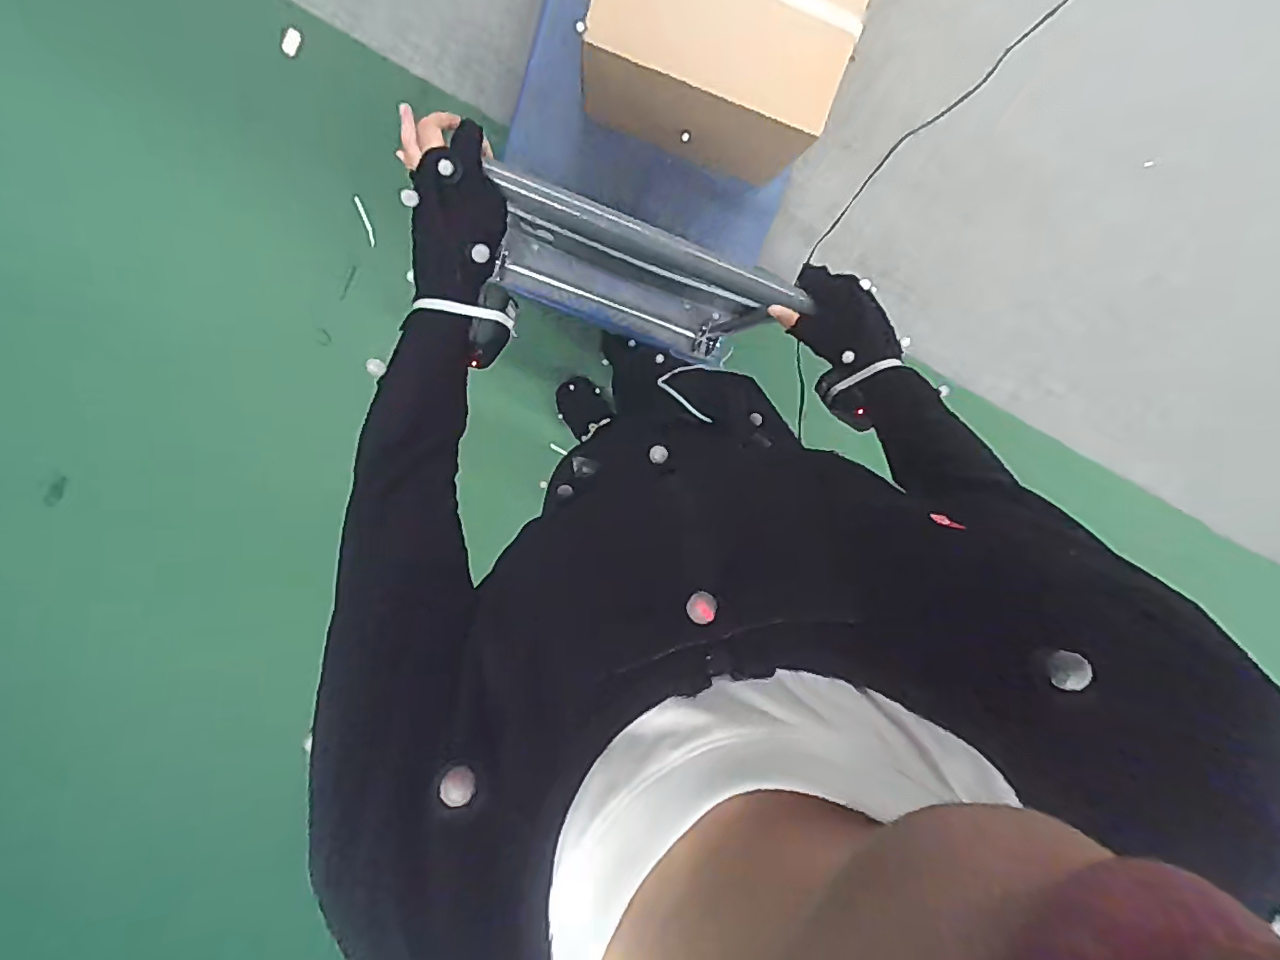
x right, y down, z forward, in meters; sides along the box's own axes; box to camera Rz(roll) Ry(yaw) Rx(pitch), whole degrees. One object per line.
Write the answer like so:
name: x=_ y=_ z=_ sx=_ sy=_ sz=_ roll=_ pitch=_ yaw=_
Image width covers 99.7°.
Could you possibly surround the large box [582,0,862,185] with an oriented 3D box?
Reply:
large box: x=0.132 y=-0.786 z=0.966 sx=0.408 sy=0.320 sz=0.320 roll=16 pitch=101 yaw=-9
